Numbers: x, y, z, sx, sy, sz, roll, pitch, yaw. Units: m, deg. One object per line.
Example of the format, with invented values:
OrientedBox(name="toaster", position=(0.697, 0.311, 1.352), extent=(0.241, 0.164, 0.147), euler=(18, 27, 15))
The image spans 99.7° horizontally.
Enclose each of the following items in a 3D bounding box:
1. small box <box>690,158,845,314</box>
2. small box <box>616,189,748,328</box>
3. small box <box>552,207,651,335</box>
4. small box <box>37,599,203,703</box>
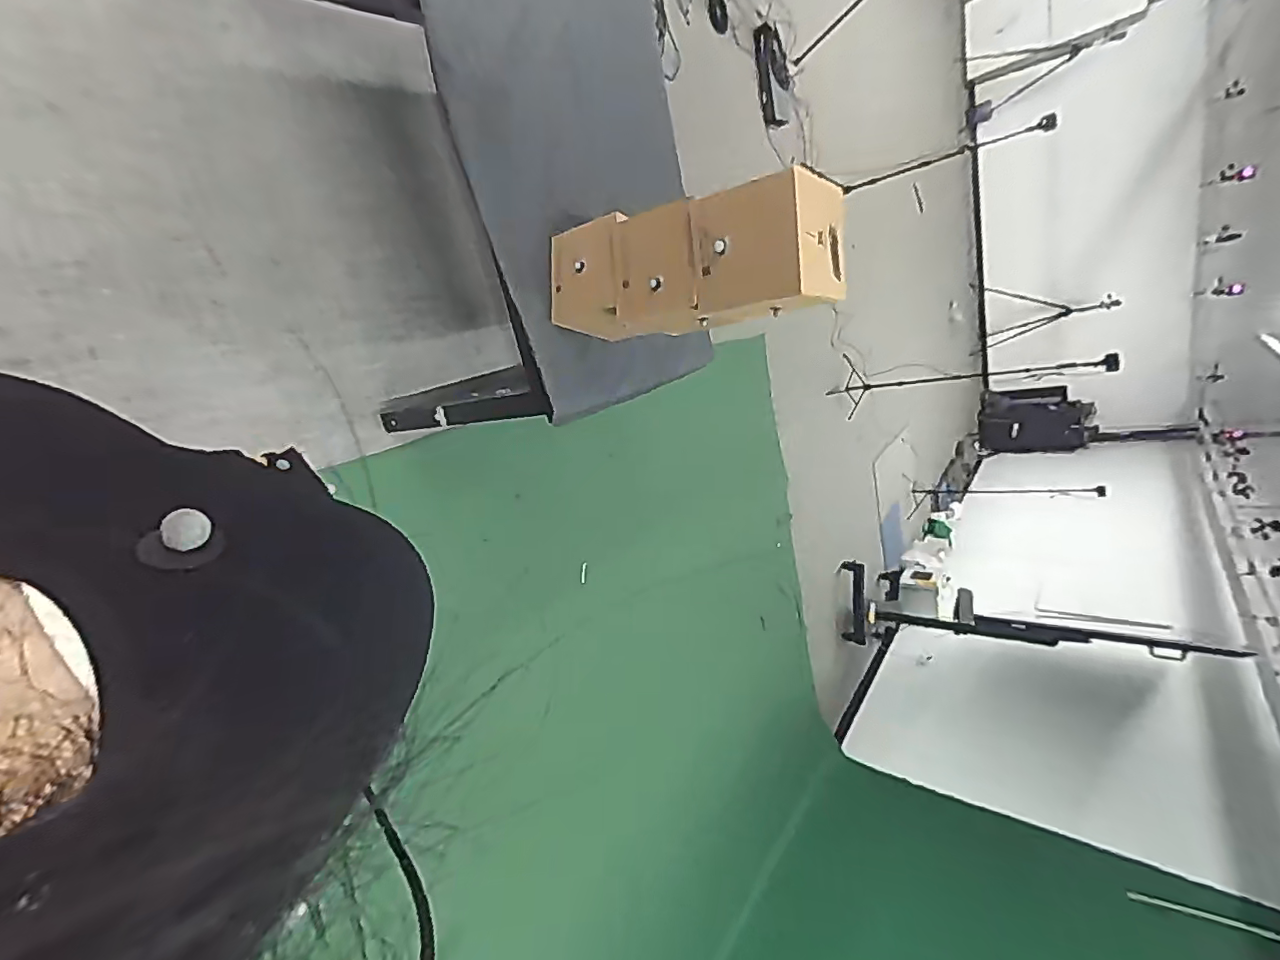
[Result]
OrientedBox(name="small box", position=(0.195, -0.350, 0.815), extent=(0.179, 0.176, 0.168), euler=(-17, 104, -49))
OrientedBox(name="small box", position=(0.070, -0.361, 0.922), extent=(0.179, 0.176, 0.168), euler=(-9, 98, -51))
OrientedBox(name="small box", position=(-0.052, -0.383, 1.028), extent=(0.179, 0.176, 0.168), euler=(0, 91, -52))
OrientedBox(name="small box", position=(-1.012, 0.338, 1.052), extent=(0.179, 0.176, 0.168), euler=(37, 63, -44))
